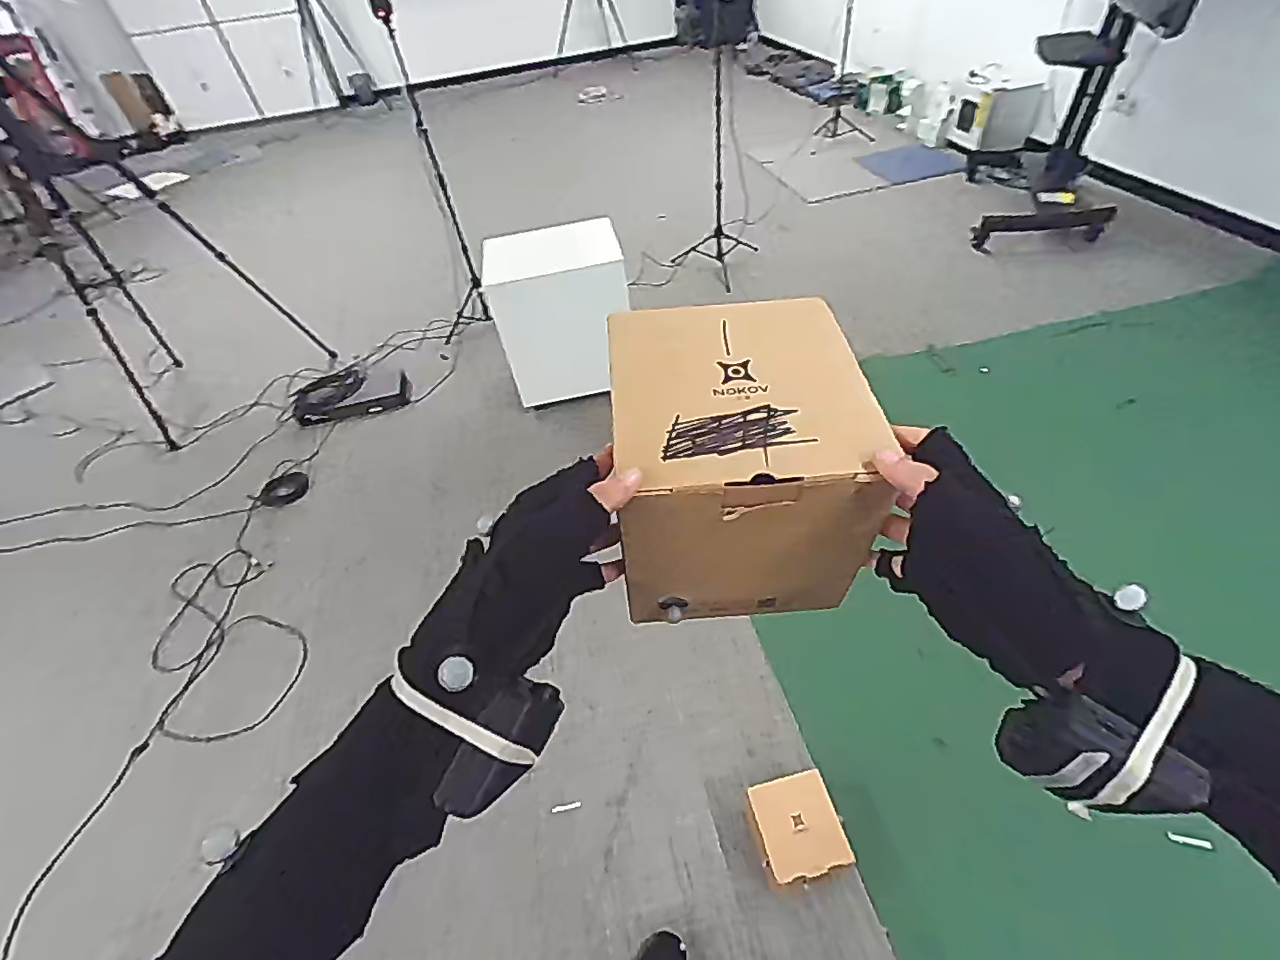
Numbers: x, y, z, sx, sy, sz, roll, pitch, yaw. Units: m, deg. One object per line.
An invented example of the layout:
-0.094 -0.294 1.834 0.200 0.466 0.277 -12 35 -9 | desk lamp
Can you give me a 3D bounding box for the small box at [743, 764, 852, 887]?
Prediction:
0.329 0.751 1.175 0.168 0.176 0.179 -14 48 -5 | small box
